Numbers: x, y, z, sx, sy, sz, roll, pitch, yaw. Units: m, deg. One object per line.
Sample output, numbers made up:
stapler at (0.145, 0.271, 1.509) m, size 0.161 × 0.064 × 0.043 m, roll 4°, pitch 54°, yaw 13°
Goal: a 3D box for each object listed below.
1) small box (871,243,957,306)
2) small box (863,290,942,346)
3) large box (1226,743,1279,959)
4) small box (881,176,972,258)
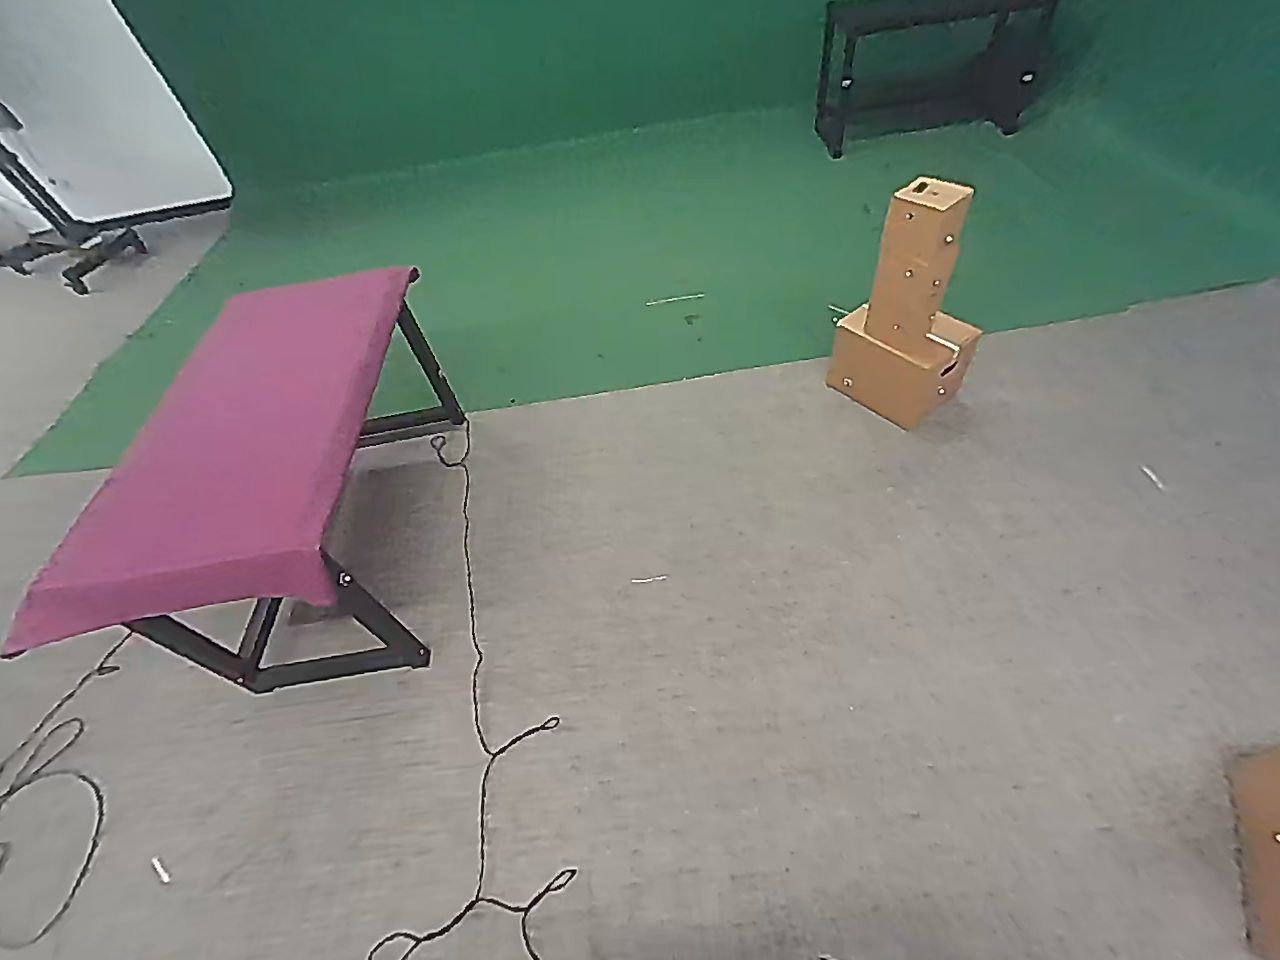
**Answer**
small box at (0.916, -0.710, 1.819) m, size 0.168 × 0.176 × 0.179 m, roll -31°, pitch 53°, yaw -17°
small box at (0.937, -0.606, 1.945) m, size 0.168 × 0.176 × 0.179 m, roll -33°, pitch 53°, yaw -18°
large box at (1.459, 0.777, 1.048) m, size 0.320 × 0.320 × 0.408 m, roll 18°, pitch 55°, yaw 21°
small box at (0.893, -0.827, 1.705) m, size 0.168 × 0.176 × 0.179 m, roll -36°, pitch 55°, yaw -20°
